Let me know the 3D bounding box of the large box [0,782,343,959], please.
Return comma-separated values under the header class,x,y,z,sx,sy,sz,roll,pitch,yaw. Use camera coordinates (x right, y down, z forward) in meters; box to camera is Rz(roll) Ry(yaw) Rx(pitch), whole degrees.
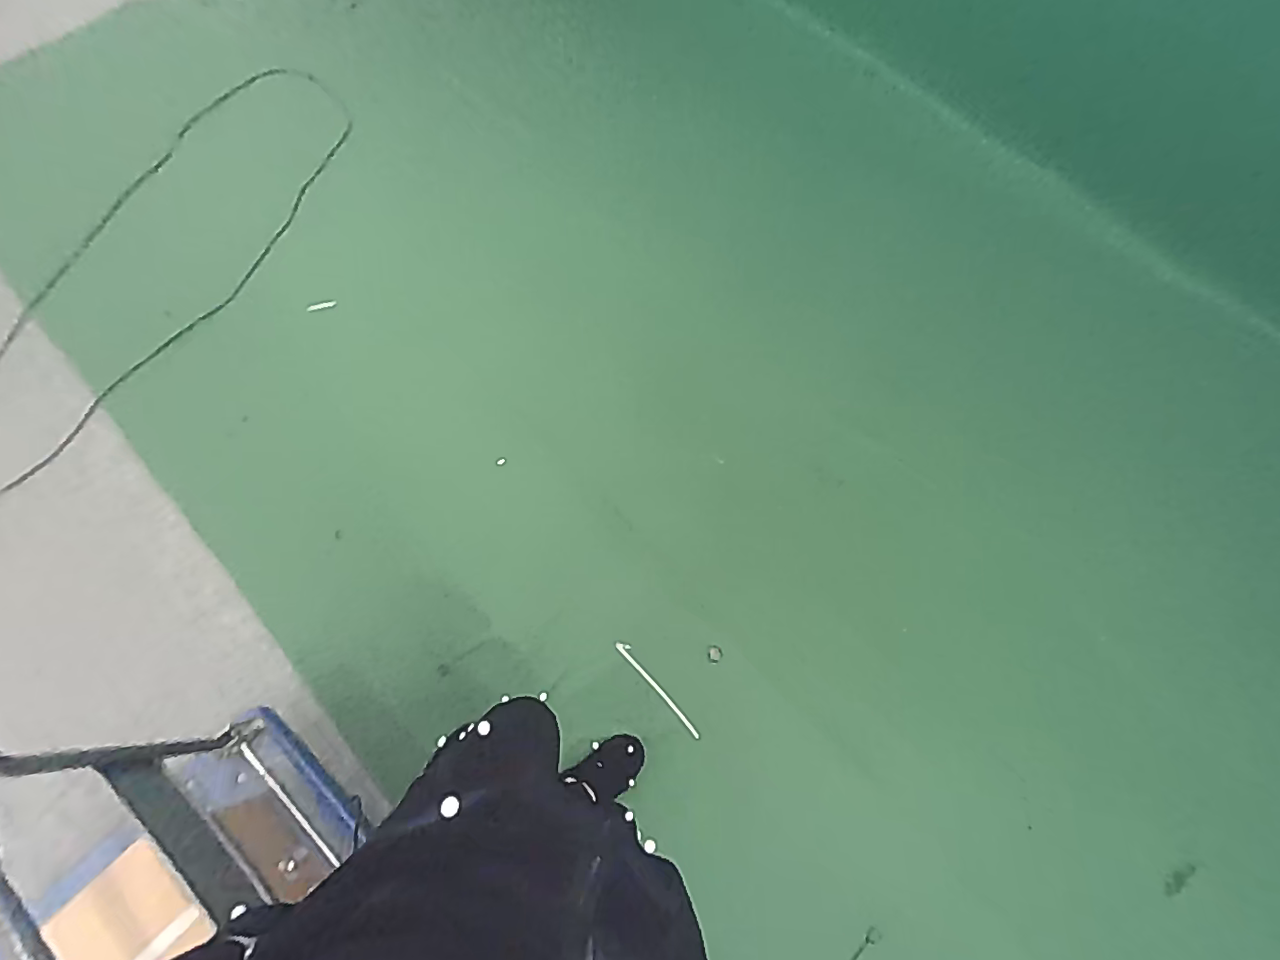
class,x,y,z,sx,sy,sz,roll,pitch,yaw
large box,-0.842,0.837,0.954,0.320,0.320,0.408,42,75,11
